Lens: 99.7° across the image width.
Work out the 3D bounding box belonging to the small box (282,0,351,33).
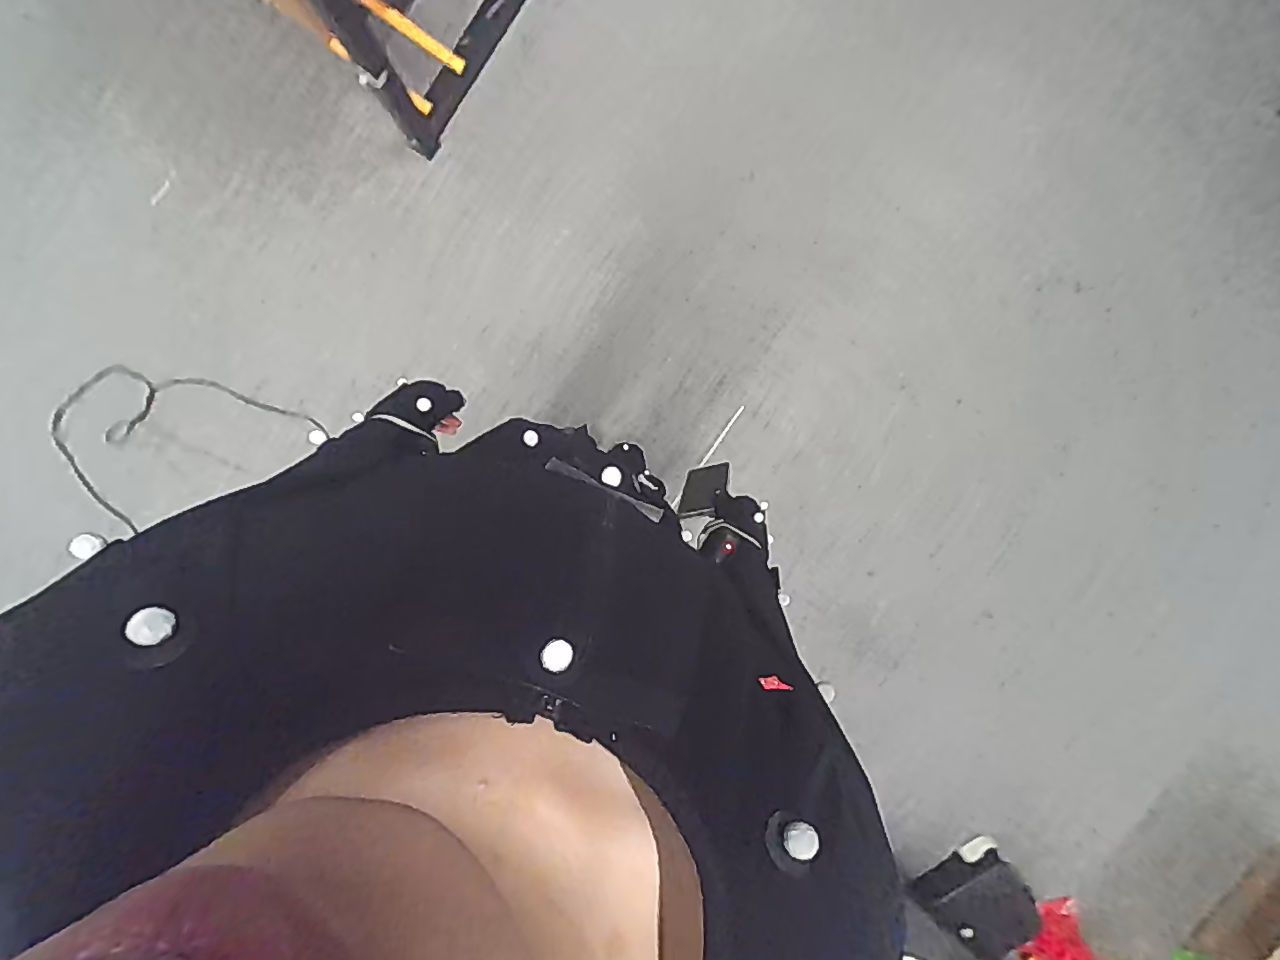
[{"bbox_3d":[-0.724,-1.114,1.140,0.168,0.176,0.179,38,93,-7],"label":"small box"}]
